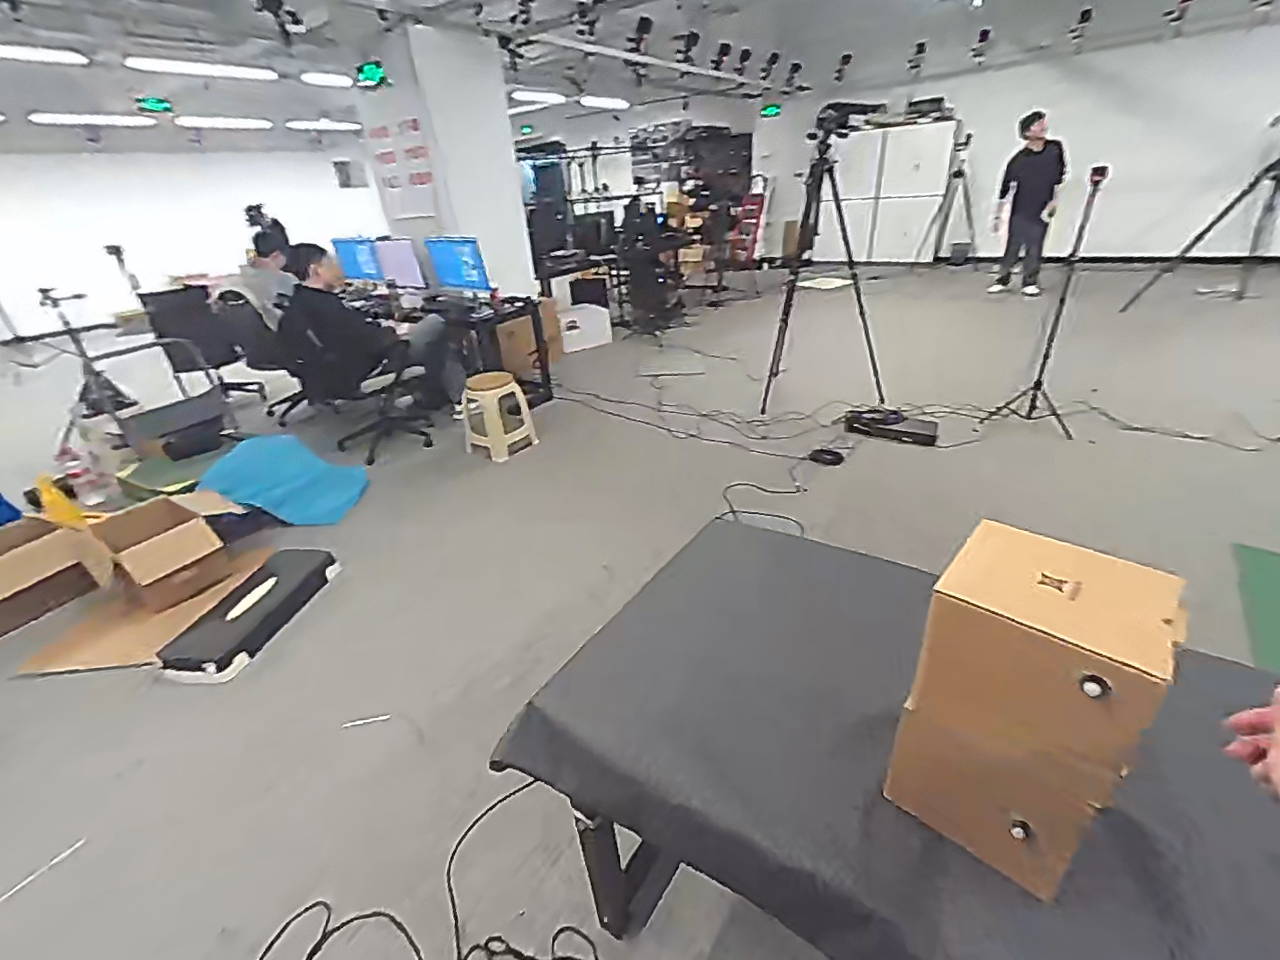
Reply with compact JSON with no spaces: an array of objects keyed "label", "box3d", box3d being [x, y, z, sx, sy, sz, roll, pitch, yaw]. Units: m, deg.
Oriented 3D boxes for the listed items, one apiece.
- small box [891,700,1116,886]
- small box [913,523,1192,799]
[{"label":"small box","box3d":[0.419,0.319,0.628,0.179,0.176,0.168,21,36,40]},{"label":"small box","box3d":[0.408,0.174,0.555,0.179,0.176,0.168,24,38,39]}]
